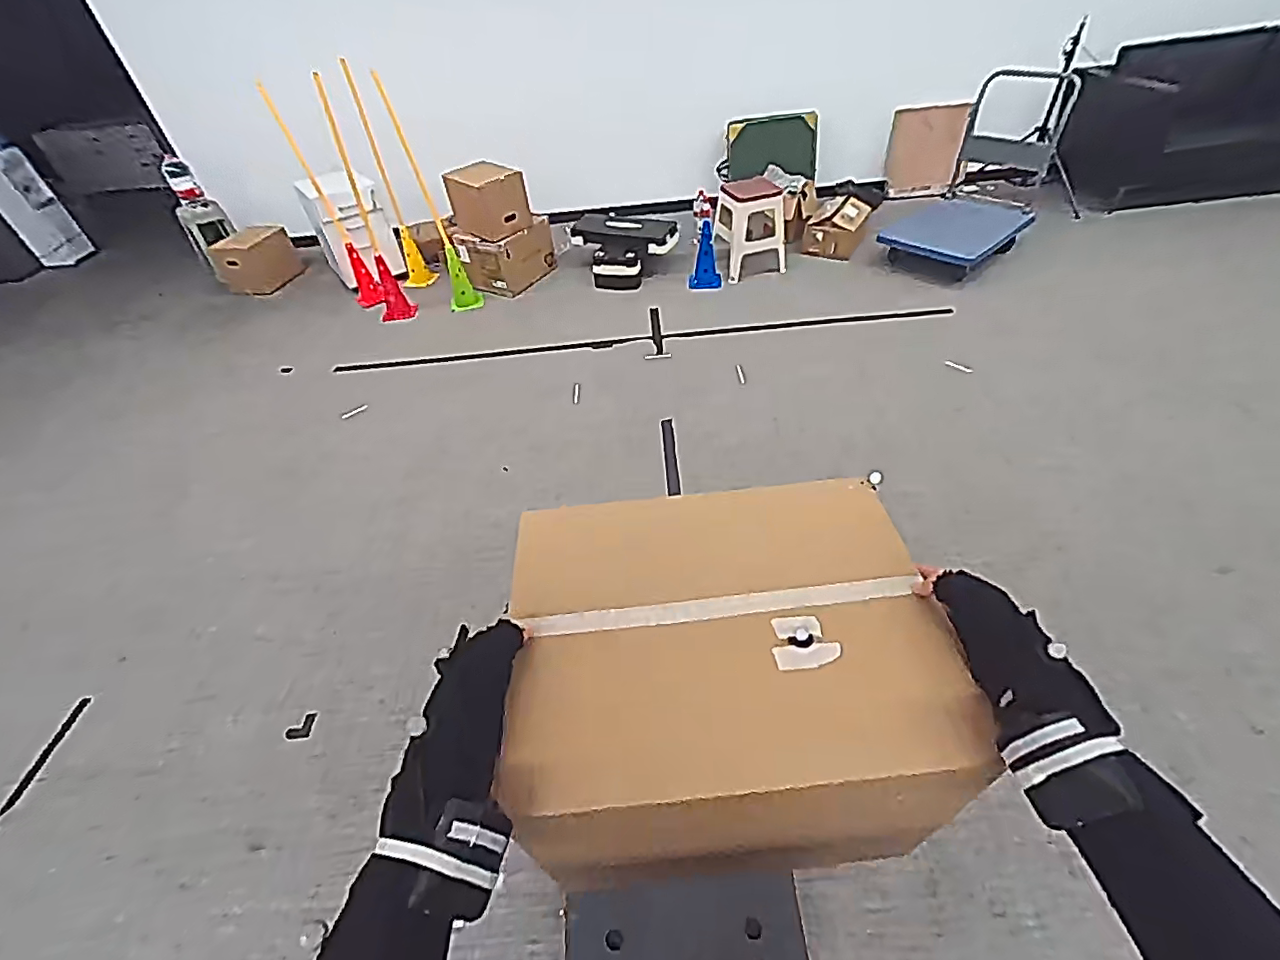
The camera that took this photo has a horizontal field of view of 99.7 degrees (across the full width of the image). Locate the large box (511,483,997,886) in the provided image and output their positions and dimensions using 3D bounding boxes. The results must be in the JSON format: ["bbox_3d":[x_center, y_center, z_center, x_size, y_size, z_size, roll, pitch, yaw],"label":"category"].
[{"bbox_3d":[0.088,0.238,0.637,0.408,0.320,0.320,-6,44,-1],"label":"large box"}]
